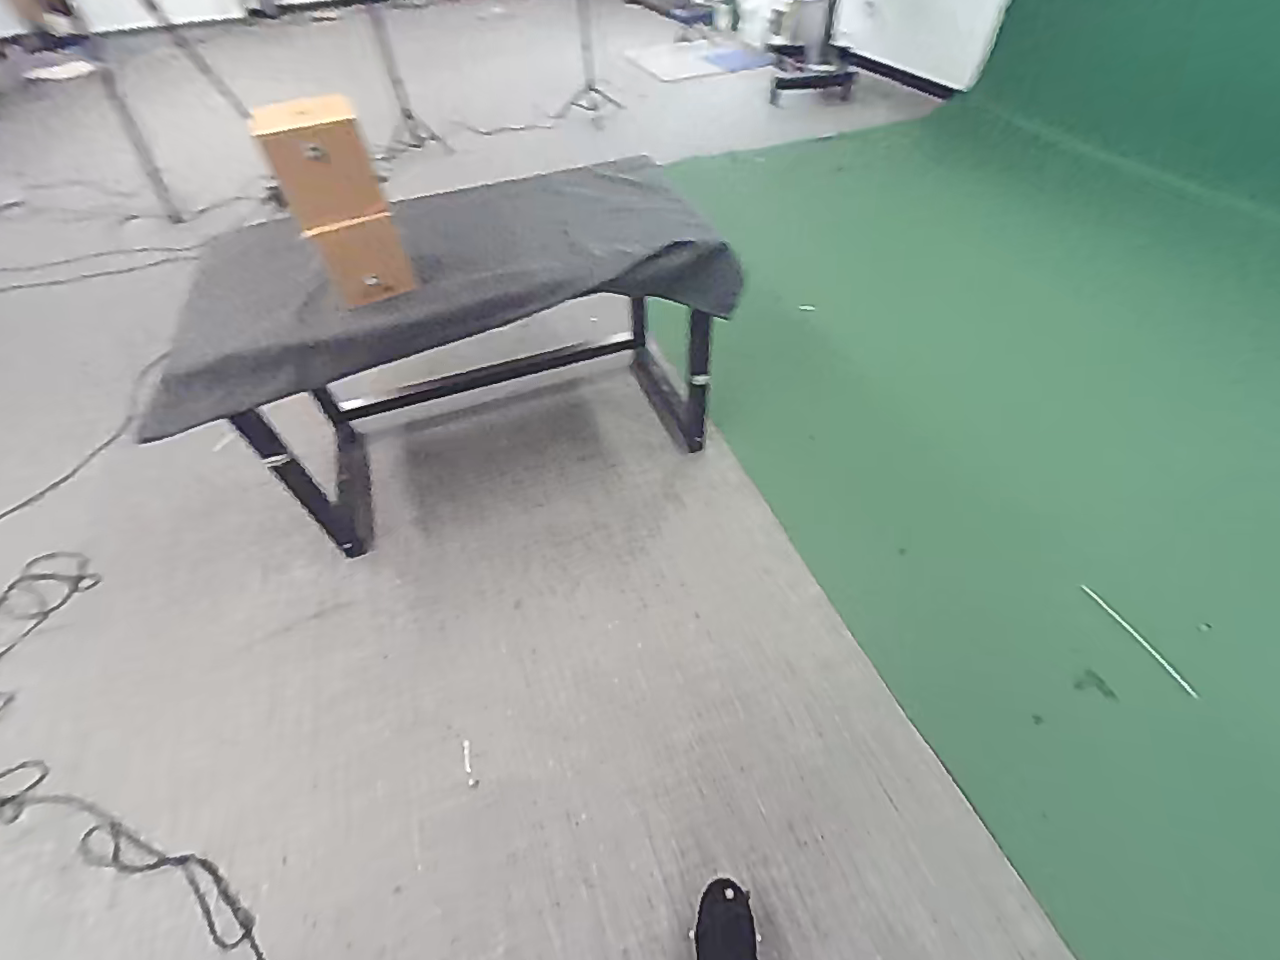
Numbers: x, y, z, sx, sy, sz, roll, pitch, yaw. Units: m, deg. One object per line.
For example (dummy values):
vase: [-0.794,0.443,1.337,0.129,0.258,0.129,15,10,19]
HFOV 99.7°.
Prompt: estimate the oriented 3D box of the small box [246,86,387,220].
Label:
small box: [-0.620,-0.628,1.044,0.179,0.176,0.168,-22,54,-16]

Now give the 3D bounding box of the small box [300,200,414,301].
small box: [-0.611,-0.513,1.159,0.168,0.176,0.179,-26,55,-17]
